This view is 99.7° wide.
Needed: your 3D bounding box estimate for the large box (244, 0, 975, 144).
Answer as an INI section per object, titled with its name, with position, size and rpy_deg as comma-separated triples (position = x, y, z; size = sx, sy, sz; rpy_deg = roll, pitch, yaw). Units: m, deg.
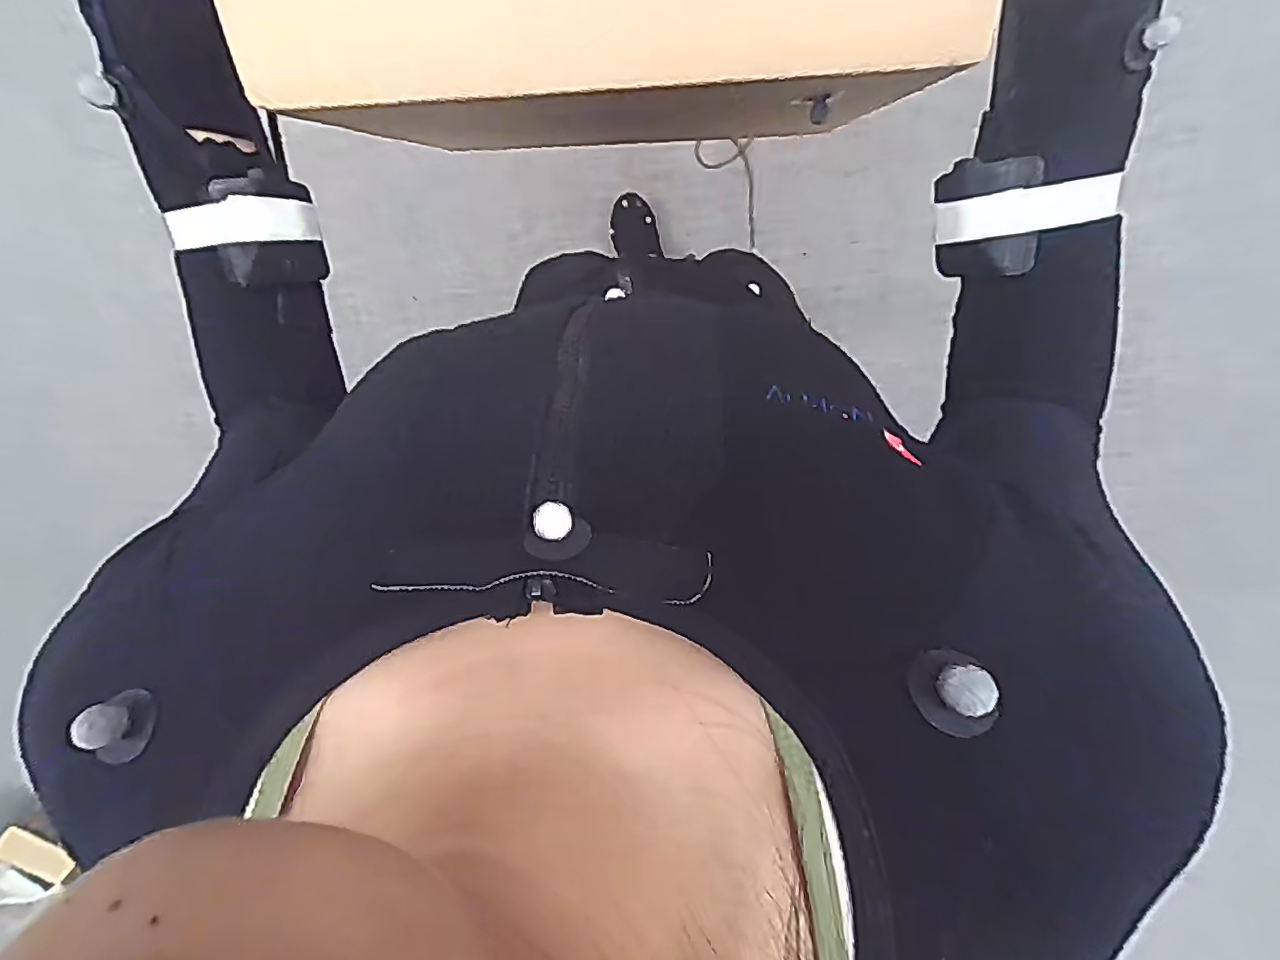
[large box]
position = -0.018, -0.430, 0.369
size = 0.408, 0.320, 0.320
rpy_deg = -1, 117, 4
